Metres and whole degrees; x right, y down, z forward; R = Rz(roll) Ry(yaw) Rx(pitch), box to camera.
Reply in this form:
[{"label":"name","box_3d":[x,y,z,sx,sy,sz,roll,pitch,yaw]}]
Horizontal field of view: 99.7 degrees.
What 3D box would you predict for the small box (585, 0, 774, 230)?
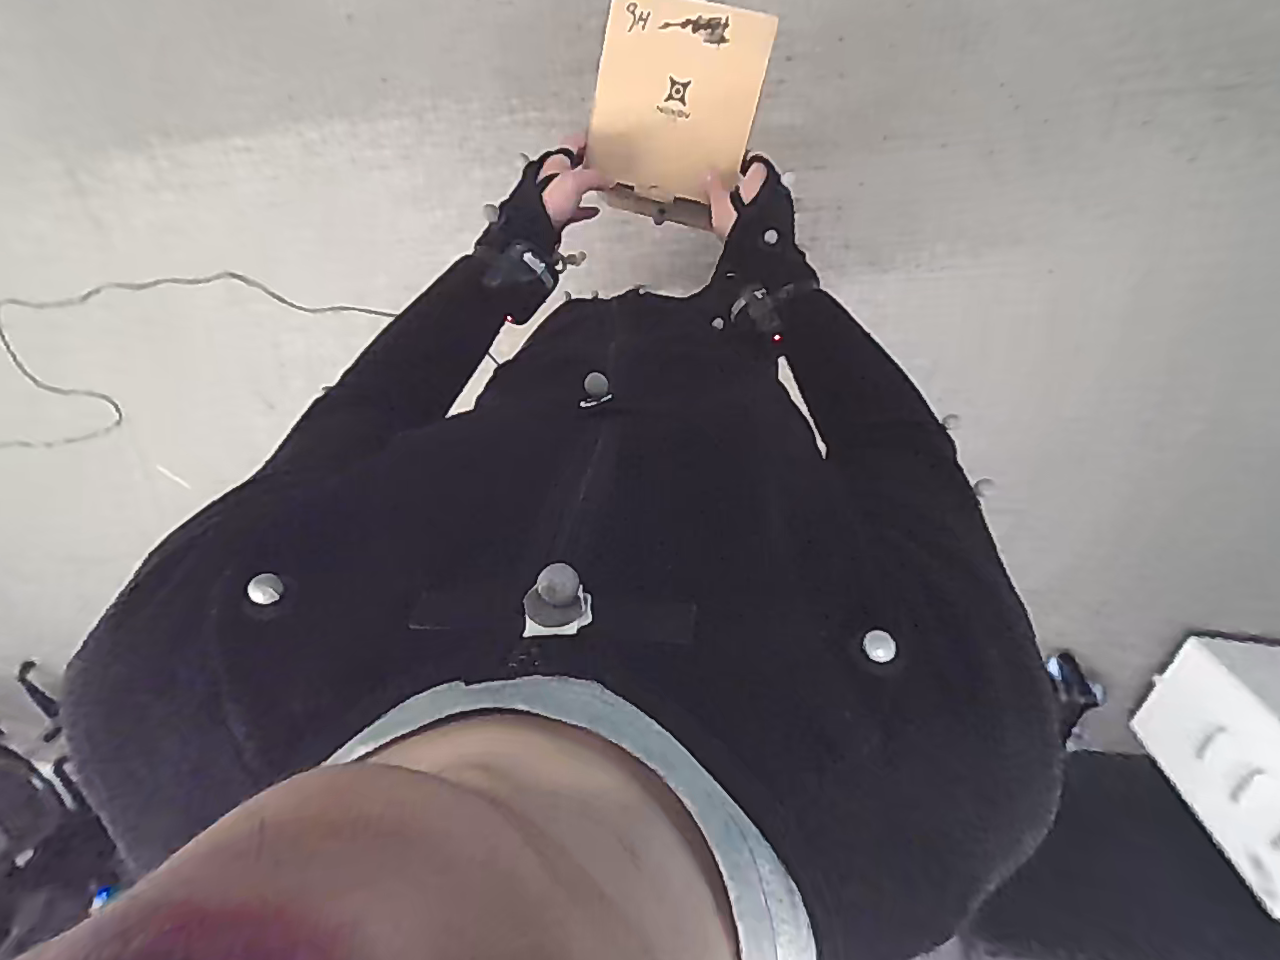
[{"label":"small box","box_3d":[0.047,-0.406,0.632,0.168,0.176,0.179,14,109,3]}]
